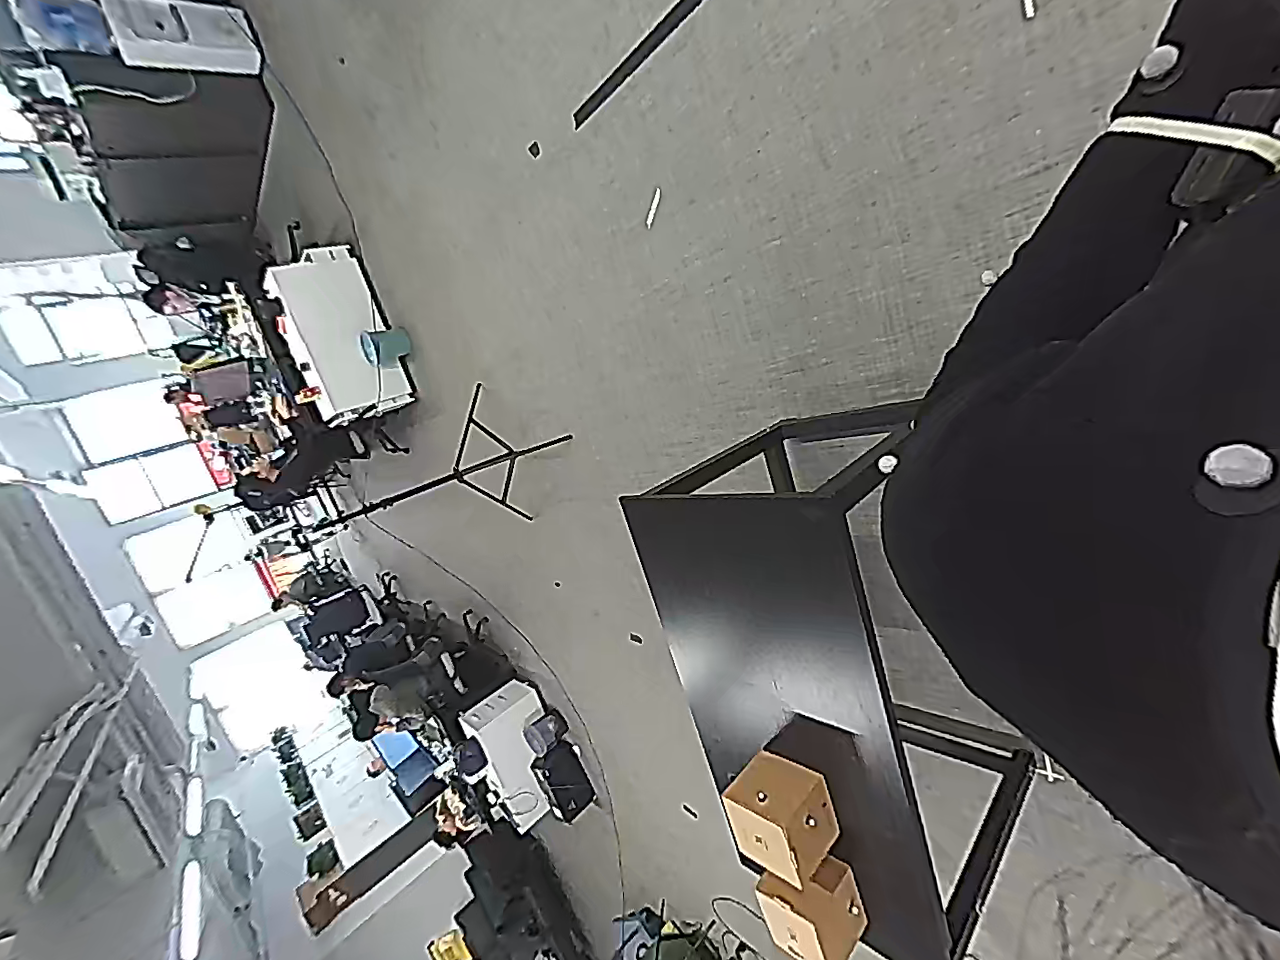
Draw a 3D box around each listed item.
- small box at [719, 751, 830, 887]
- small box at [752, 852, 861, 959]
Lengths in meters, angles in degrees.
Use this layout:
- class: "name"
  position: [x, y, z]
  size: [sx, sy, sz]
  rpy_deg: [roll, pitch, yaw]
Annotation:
- class: "small box"
  position: [0.316, 0.765, 1.244]
  size: [0.179, 0.176, 0.168]
  rpy_deg: [-4, 108, 51]
- class: "small box"
  position: [0.400, 1.009, 1.291]
  size: [0.168, 0.176, 0.179]
  rpy_deg: [-6, 106, 51]
